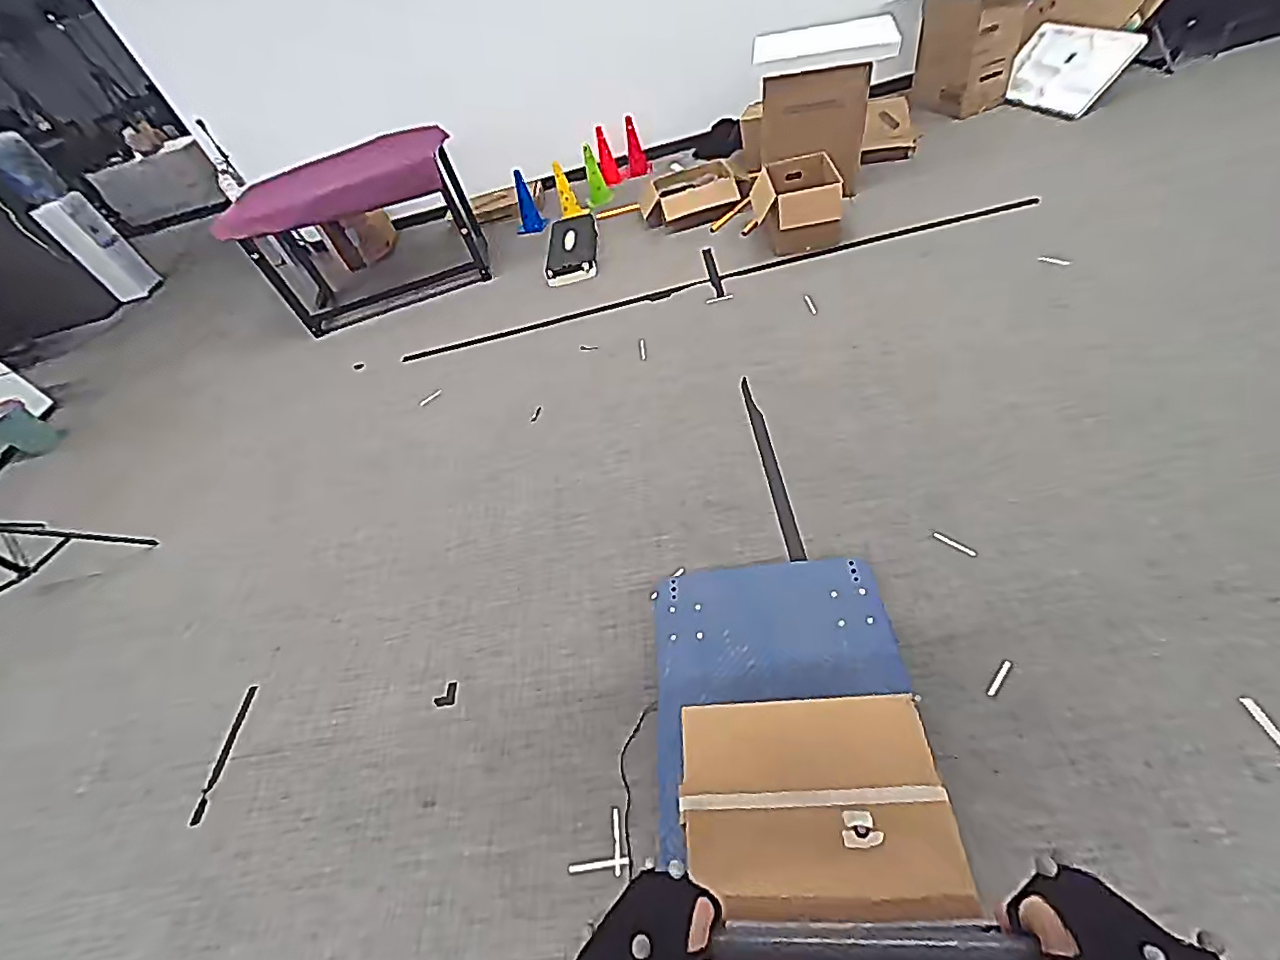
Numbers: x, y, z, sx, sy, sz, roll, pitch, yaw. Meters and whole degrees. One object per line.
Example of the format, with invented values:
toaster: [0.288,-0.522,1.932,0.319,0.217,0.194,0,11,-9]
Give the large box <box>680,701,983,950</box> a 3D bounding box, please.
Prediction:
large box: [0.294,0.617,0.956,0.408,0.320,0.320,-7,47,9]
